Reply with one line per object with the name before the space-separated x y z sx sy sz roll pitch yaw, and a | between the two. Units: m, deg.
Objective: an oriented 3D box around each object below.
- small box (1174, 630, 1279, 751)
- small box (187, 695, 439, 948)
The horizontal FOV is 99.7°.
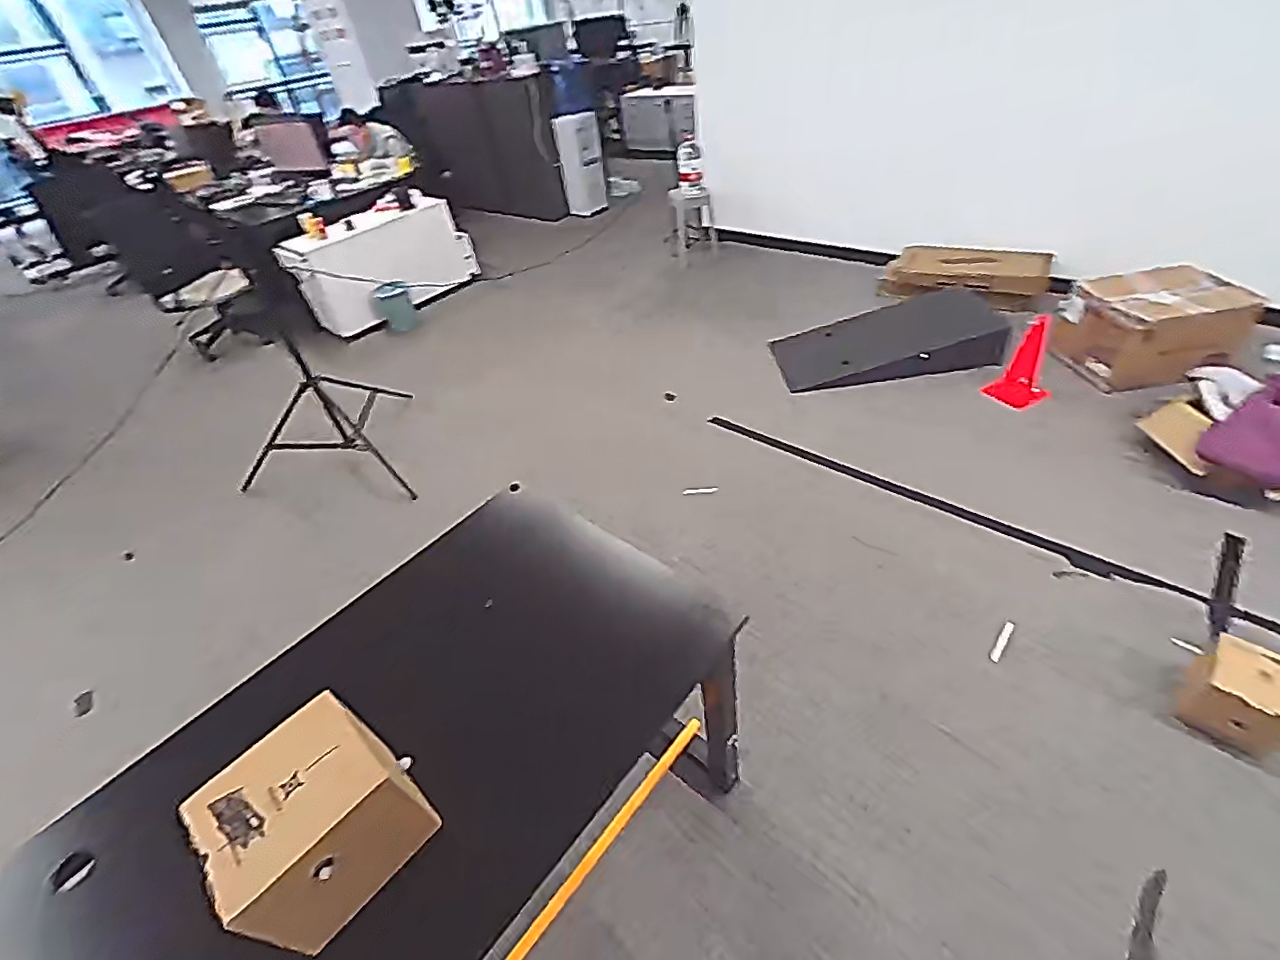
small box | 1.433 0.504 1.292 0.168 0.176 0.179 28 55 34
small box | -0.381 0.410 0.654 0.168 0.176 0.179 26 52 34
